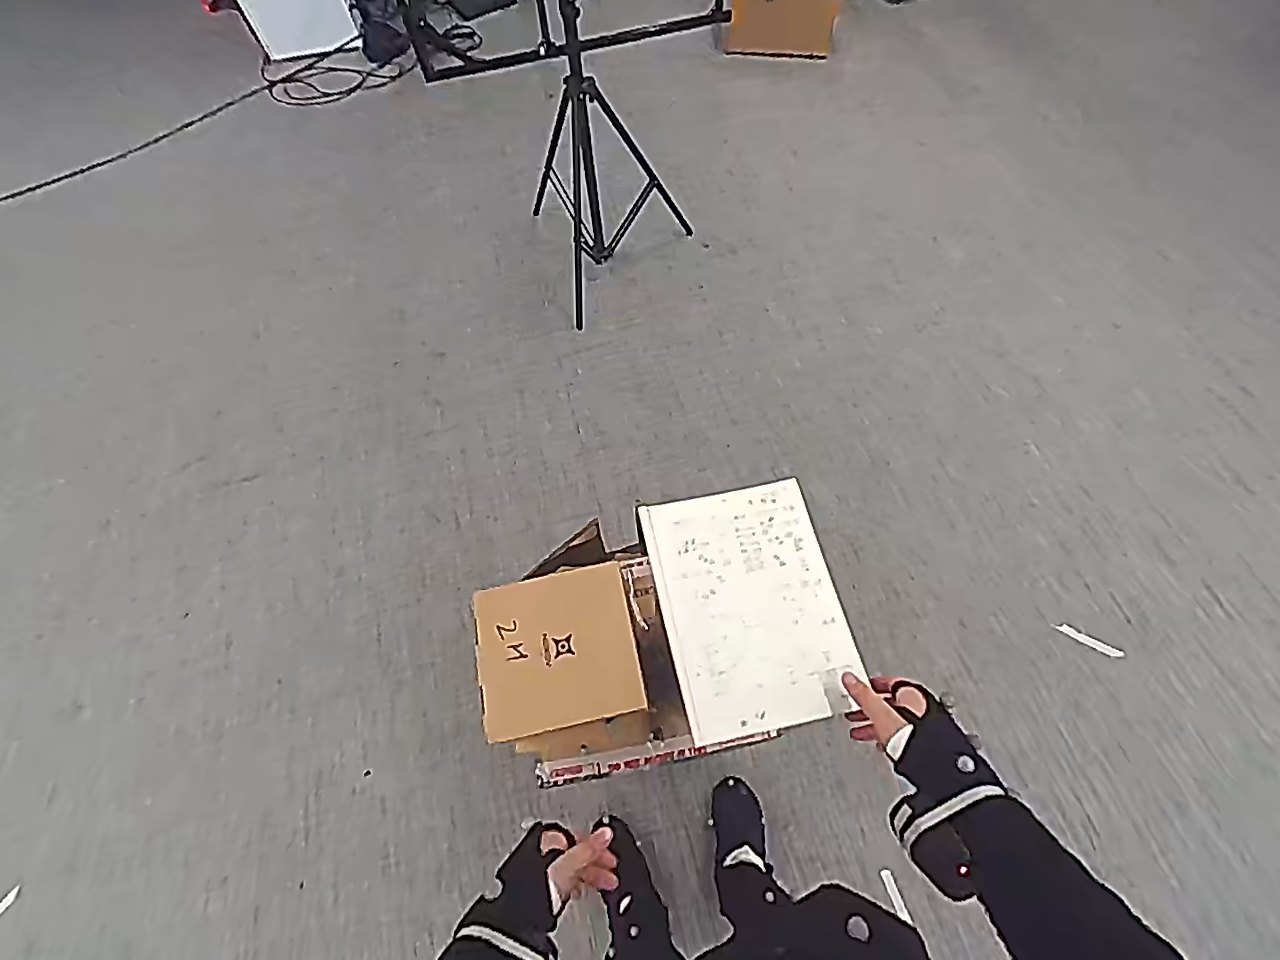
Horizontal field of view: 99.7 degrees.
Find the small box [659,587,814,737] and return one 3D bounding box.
[{"bbox_3d":[0.134,0.281,0.829,0.179,0.176,0.168,-15,66,-6],"label":"small box"}]

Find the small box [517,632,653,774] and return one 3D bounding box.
[{"bbox_3d":[-0.076,0.332,0.813,0.179,0.176,0.168,-9,66,0],"label":"small box"}]
